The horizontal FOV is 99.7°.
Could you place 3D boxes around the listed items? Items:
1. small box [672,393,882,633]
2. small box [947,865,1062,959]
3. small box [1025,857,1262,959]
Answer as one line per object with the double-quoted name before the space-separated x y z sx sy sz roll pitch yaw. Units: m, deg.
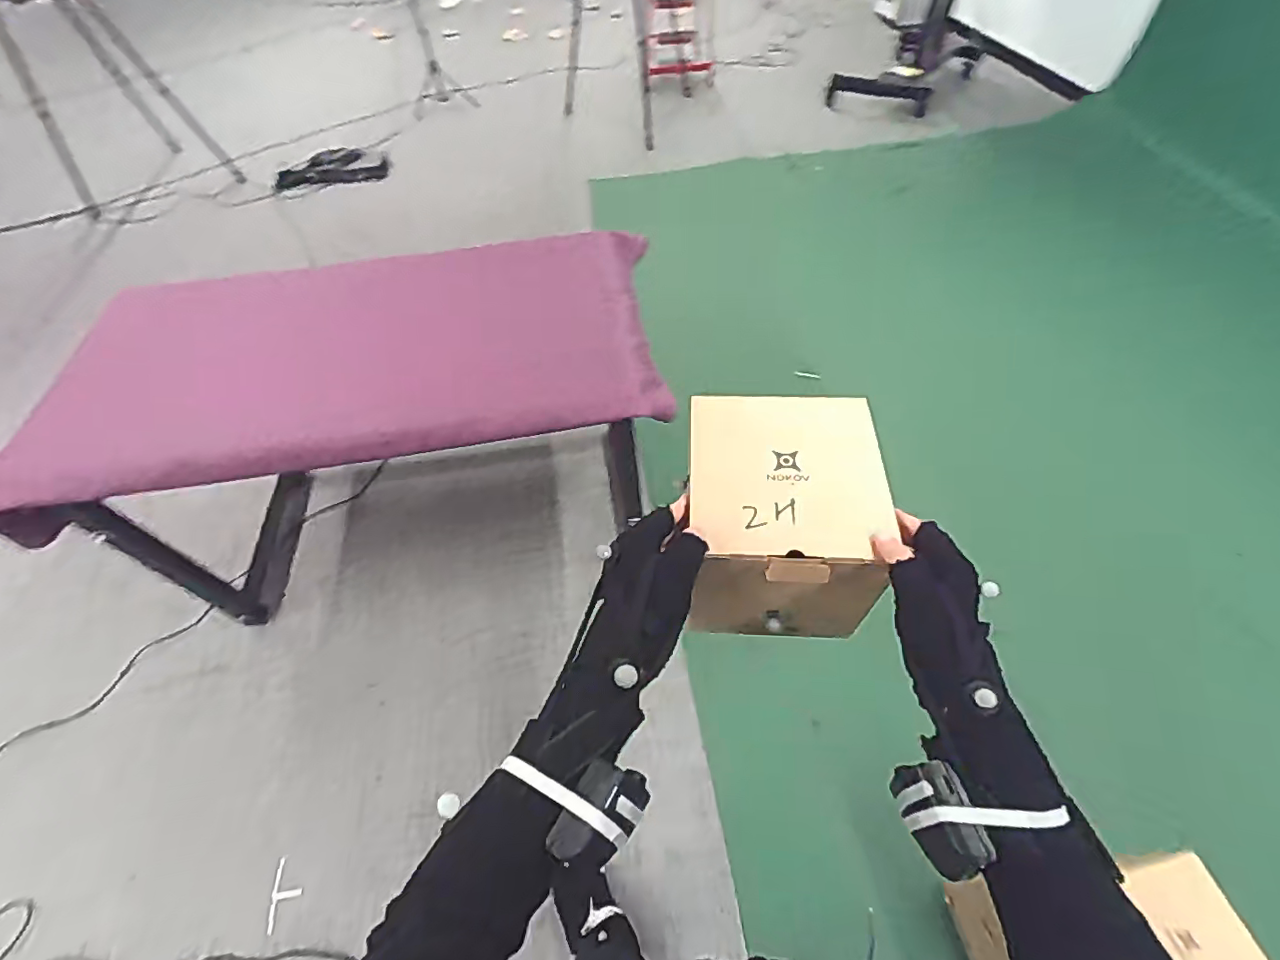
"small box" 0.117 0.034 0.538 0.168 0.176 0.179 0 54 5
"small box" 0.721 0.849 1.030 0.179 0.176 0.168 -8 54 -3
"small box" 0.710 0.651 0.770 0.179 0.176 0.168 -11 54 -4
